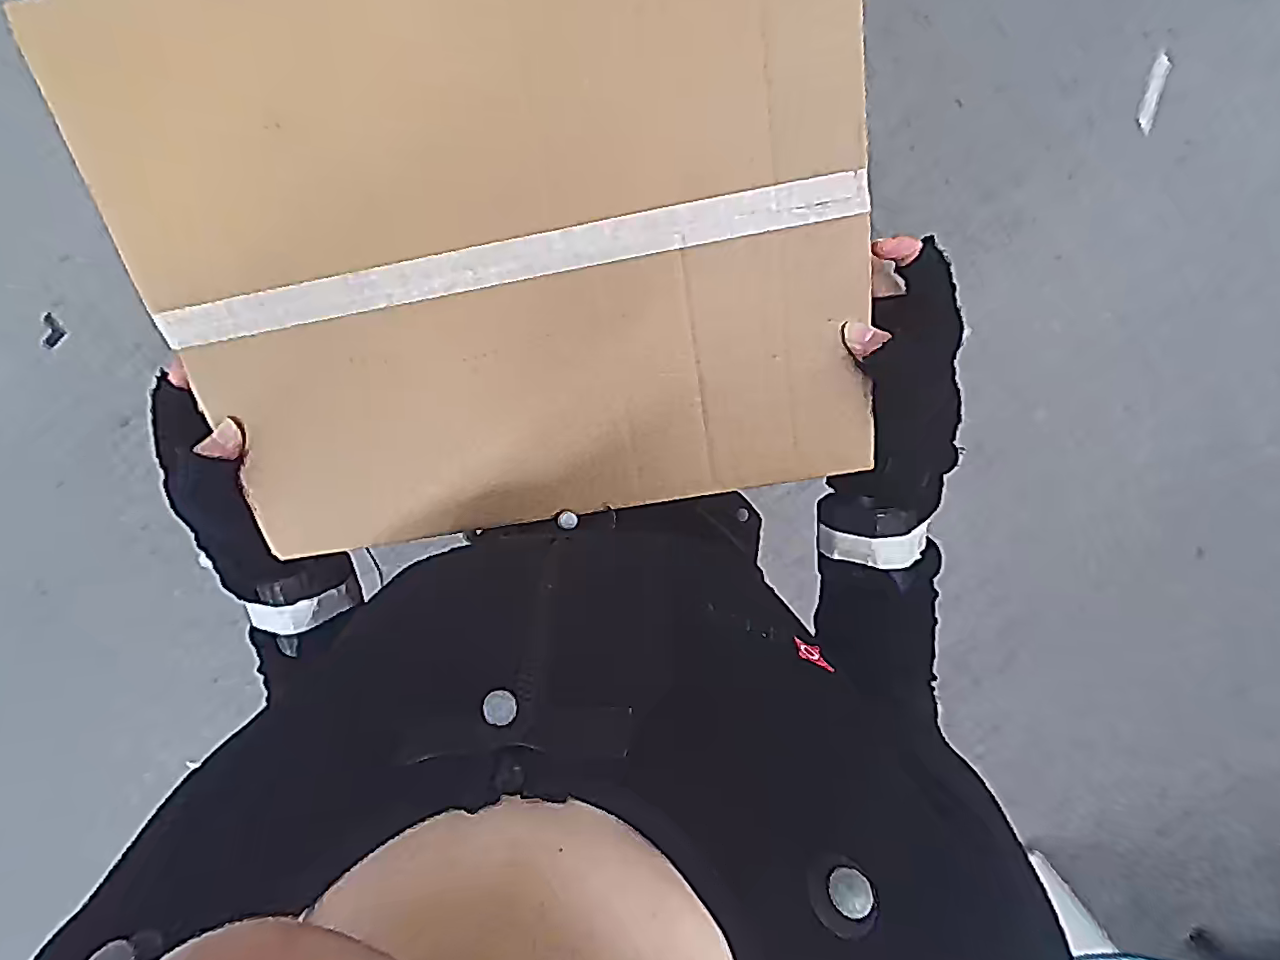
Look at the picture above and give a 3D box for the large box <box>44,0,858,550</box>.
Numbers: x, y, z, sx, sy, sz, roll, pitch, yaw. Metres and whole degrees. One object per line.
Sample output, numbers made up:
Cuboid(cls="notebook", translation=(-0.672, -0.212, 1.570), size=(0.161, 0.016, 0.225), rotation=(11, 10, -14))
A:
Cuboid(cls="large box", translation=(-0.084, -0.179, 0.449), size=(0.408, 0.320, 0.320), rotation=(-11, 112, 5))
